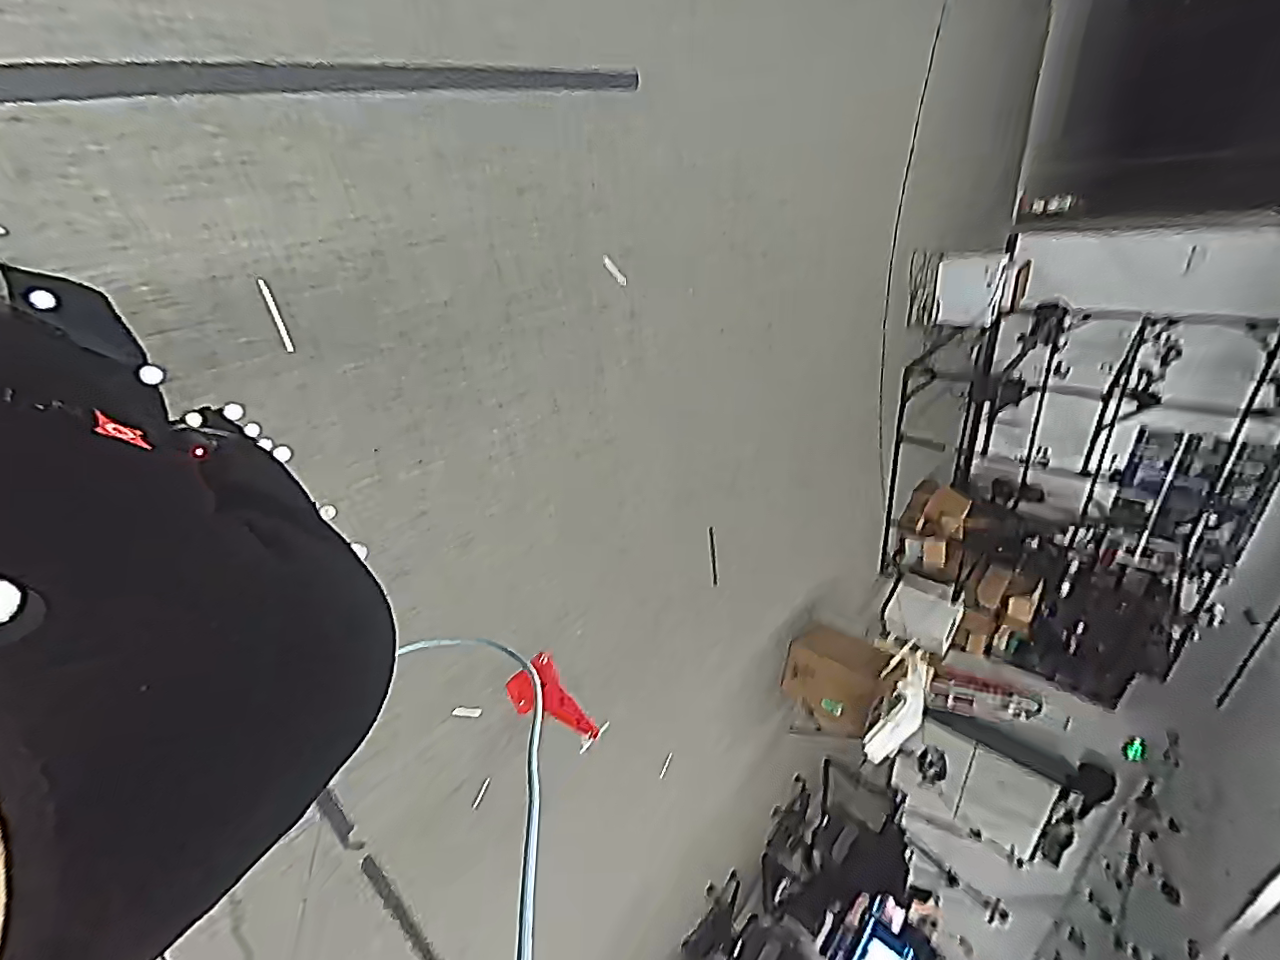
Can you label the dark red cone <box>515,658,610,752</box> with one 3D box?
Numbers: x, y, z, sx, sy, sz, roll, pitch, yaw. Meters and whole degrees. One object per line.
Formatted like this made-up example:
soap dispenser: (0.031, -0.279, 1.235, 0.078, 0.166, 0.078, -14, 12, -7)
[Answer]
dark red cone: (-0.250, 0.827, 1.909, 0.201, 0.394, 0.202, -39, 131, -31)
